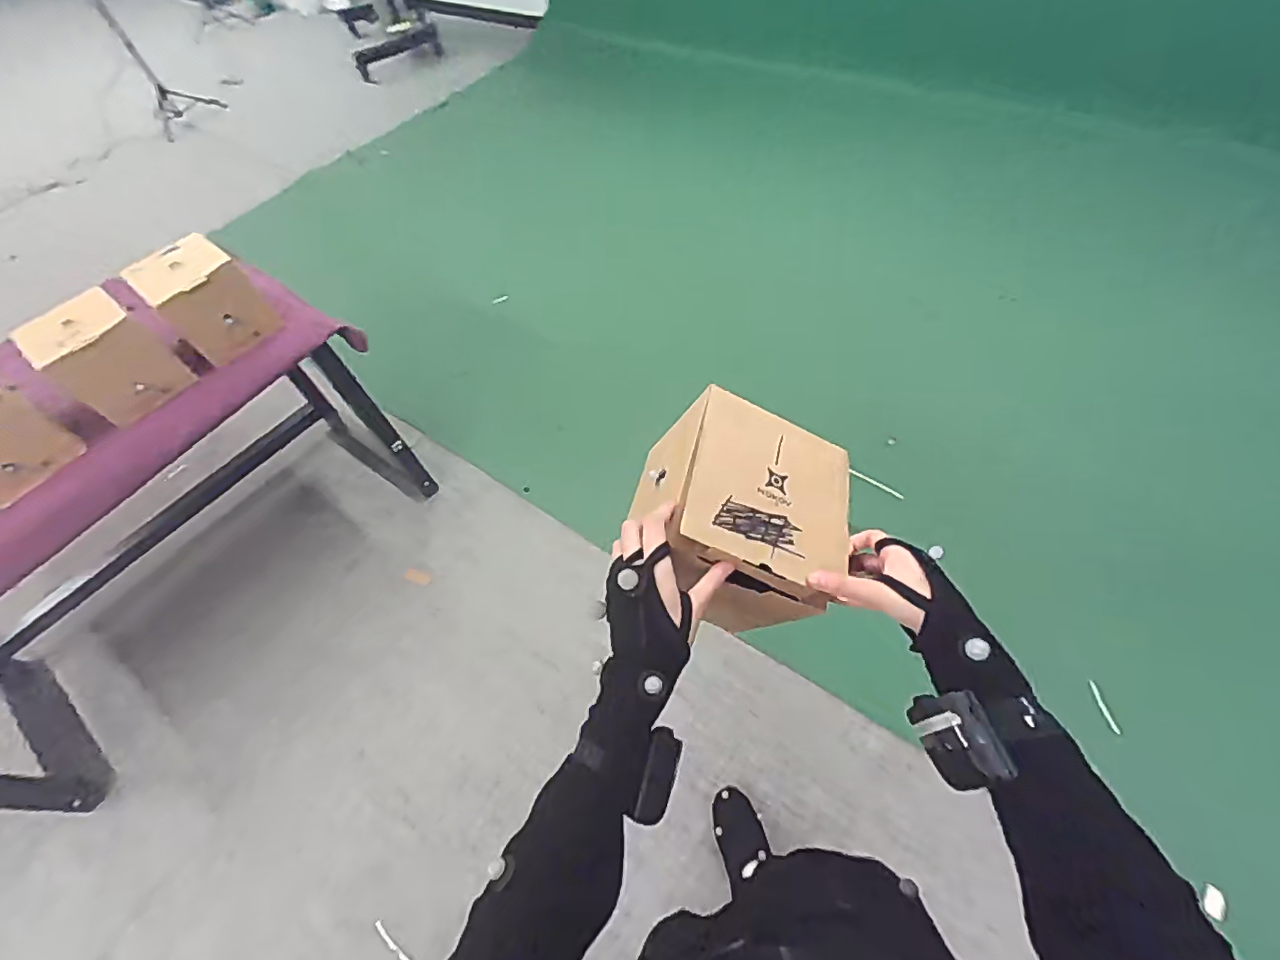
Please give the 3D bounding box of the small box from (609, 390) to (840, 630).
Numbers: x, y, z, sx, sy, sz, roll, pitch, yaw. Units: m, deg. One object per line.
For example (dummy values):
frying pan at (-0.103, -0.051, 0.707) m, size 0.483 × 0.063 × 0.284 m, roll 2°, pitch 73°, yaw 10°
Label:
small box at (0.080, 0.045, 0.567) m, size 0.168 × 0.176 × 0.179 m, roll 23°, pitch 62°, yaw -12°
